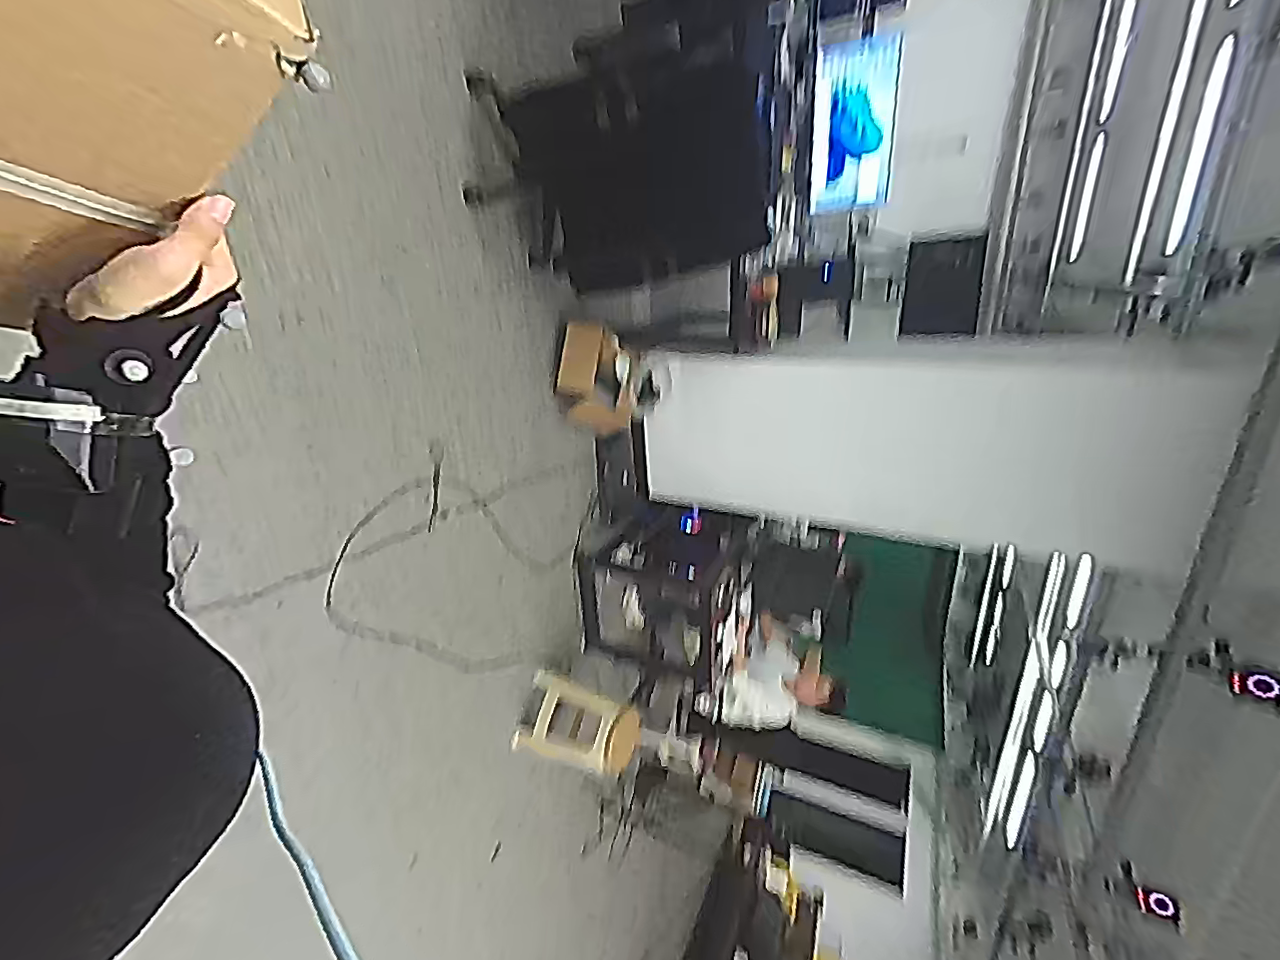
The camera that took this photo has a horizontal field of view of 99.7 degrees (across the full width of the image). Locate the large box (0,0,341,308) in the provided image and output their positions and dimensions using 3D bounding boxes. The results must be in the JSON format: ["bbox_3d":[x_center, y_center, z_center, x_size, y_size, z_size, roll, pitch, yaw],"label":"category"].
[{"bbox_3d":[-0.403,-0.311,0.175,0.408,0.320,0.320,-3,73,-60],"label":"large box"}]
